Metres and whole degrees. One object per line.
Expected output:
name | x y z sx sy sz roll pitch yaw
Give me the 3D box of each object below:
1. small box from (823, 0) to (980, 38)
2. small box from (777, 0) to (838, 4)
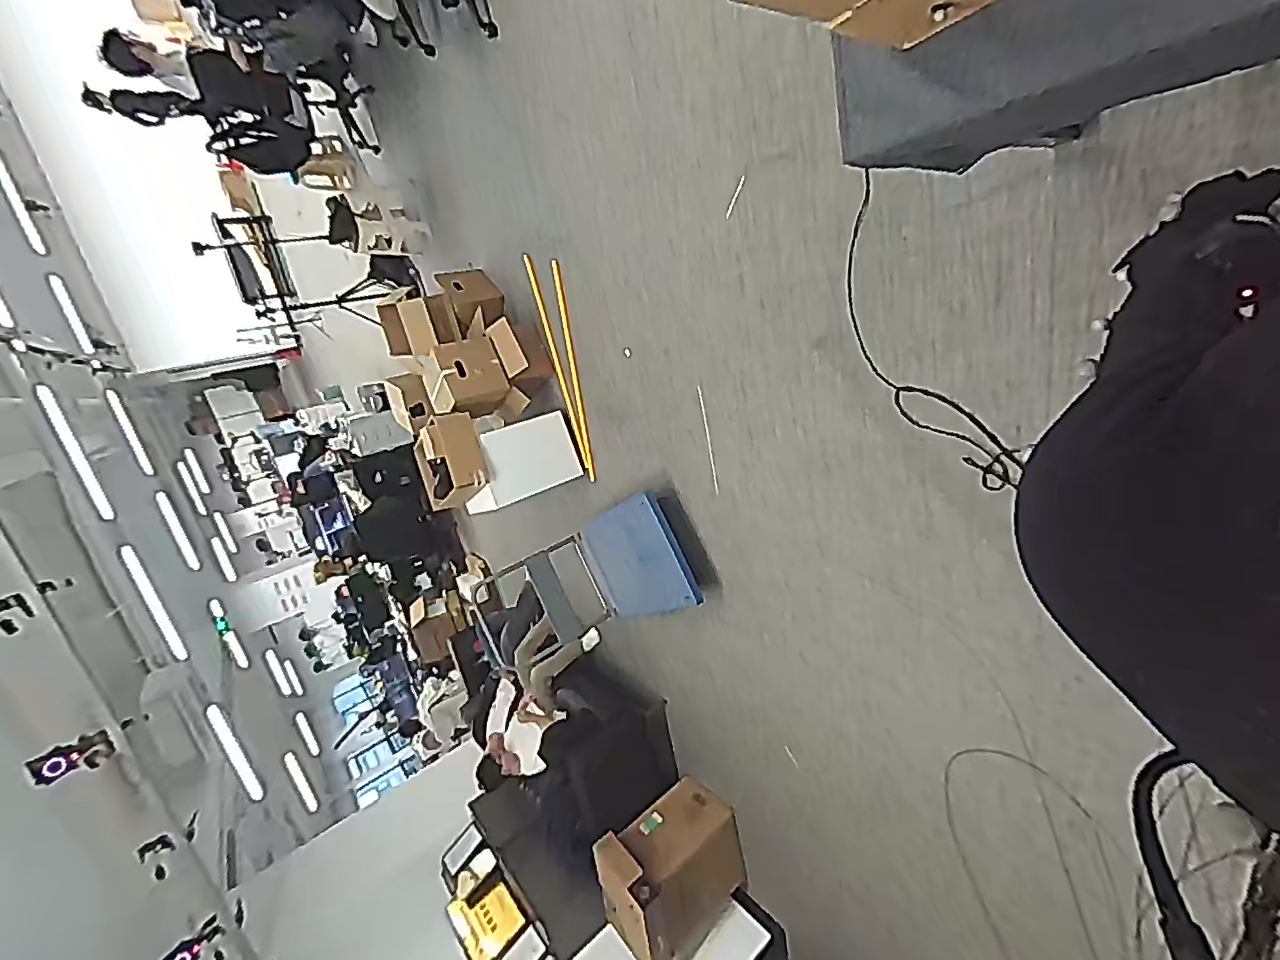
small box | 0.290 -0.584 0.532 0.168 0.176 0.179 8 116 52
small box | 0.167 -0.533 0.439 0.168 0.176 0.179 8 116 51
